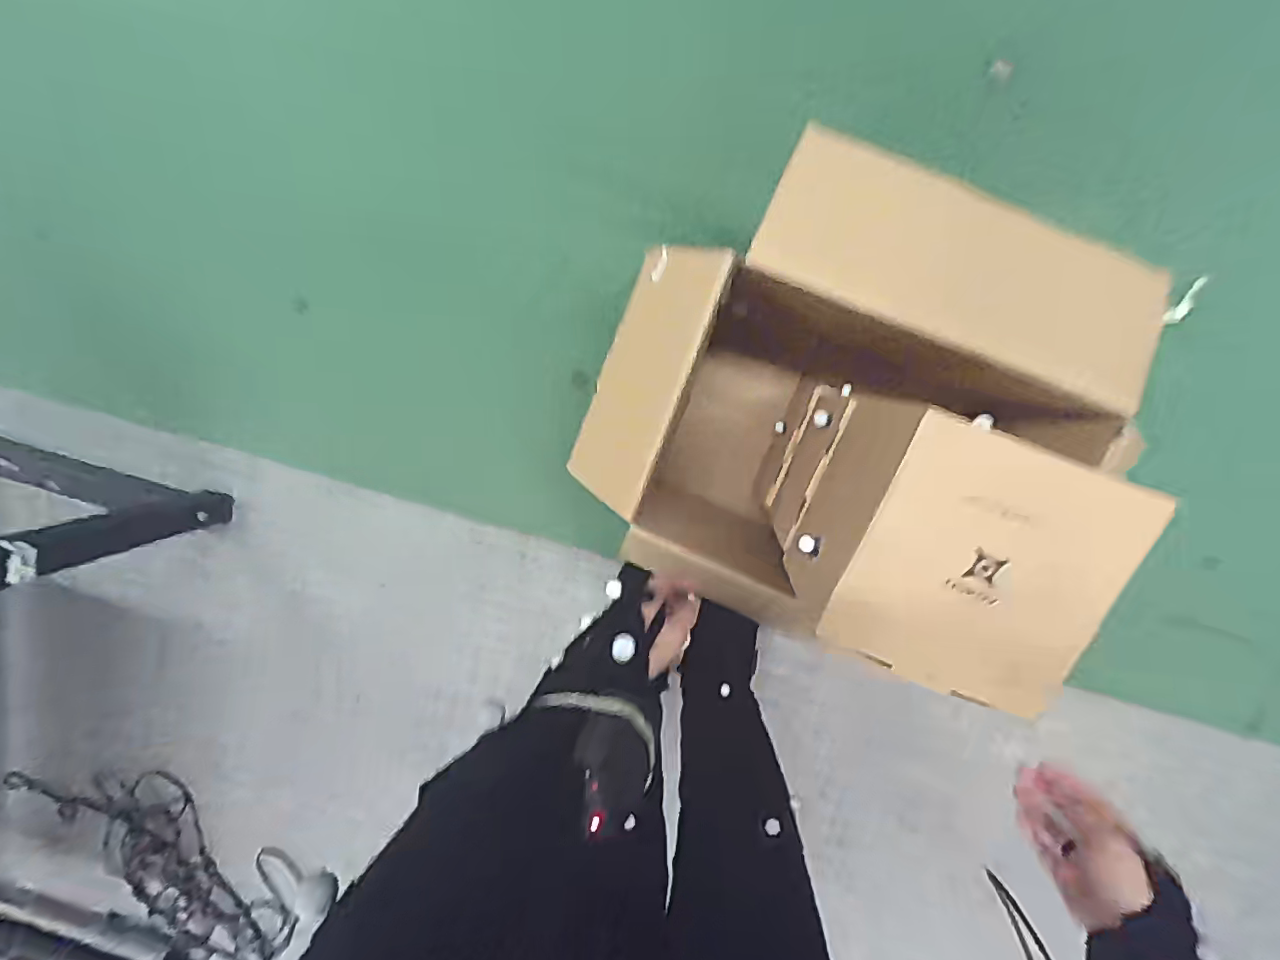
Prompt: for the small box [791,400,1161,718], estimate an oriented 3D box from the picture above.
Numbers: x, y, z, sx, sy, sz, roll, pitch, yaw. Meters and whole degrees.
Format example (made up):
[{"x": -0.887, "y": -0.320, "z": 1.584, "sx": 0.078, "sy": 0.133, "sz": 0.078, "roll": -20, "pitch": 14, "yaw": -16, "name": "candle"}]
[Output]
[{"x": 0.235, "y": 0.045, "z": 0.440, "sx": 0.168, "sy": 0.176, "sz": 0.179, "roll": 21, "pitch": 101, "yaw": 3, "name": "small box"}]
